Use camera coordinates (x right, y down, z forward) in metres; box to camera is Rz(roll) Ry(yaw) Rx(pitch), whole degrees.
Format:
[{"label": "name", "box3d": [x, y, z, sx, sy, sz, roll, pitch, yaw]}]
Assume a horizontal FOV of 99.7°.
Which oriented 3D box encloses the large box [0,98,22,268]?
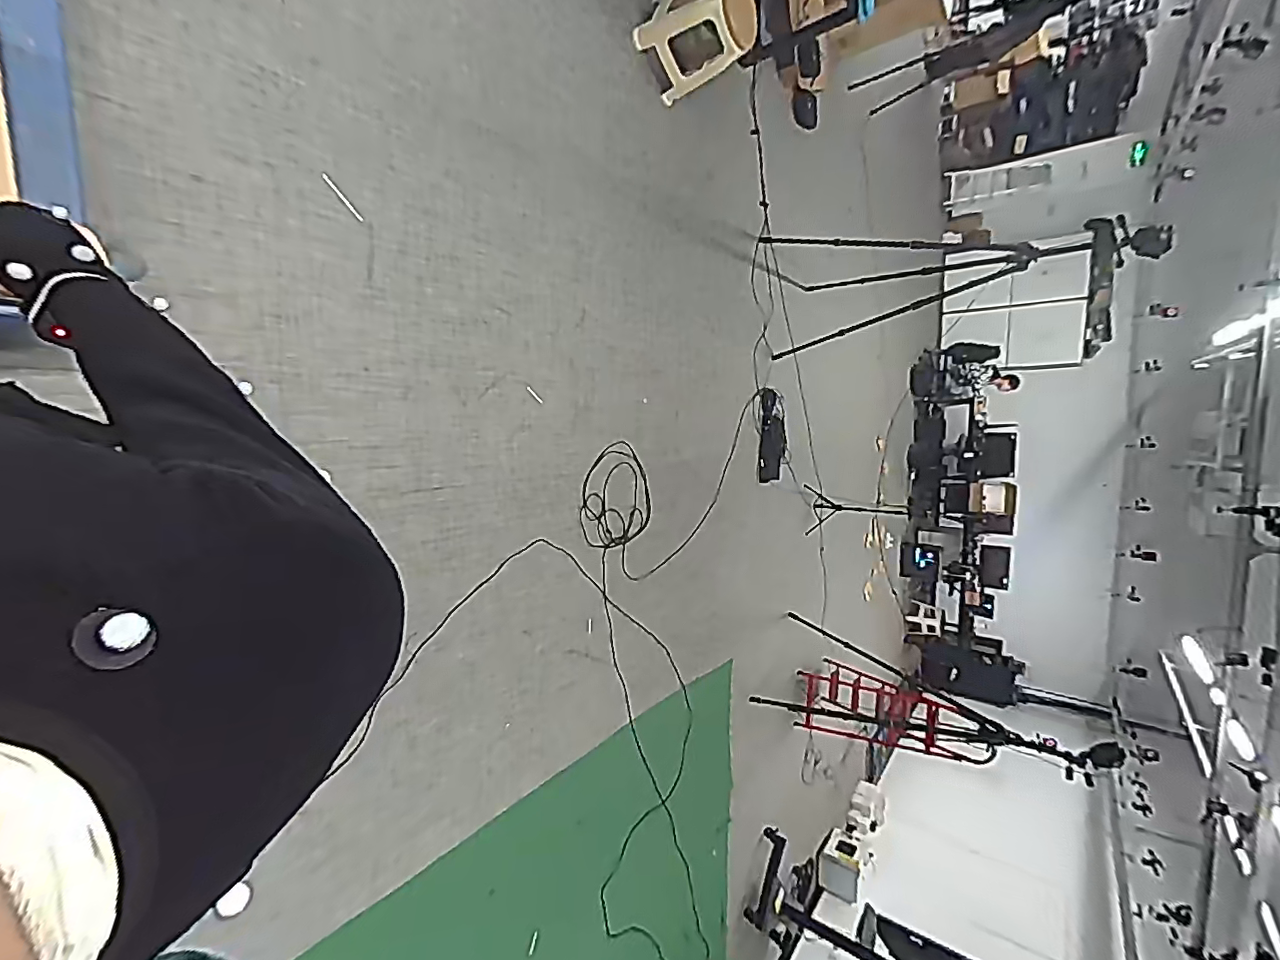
[{"label": "large box", "box3d": [-1.117, -0.545, 0.734, 0.320, 0.320, 0.408, -11, 101, -51]}]
